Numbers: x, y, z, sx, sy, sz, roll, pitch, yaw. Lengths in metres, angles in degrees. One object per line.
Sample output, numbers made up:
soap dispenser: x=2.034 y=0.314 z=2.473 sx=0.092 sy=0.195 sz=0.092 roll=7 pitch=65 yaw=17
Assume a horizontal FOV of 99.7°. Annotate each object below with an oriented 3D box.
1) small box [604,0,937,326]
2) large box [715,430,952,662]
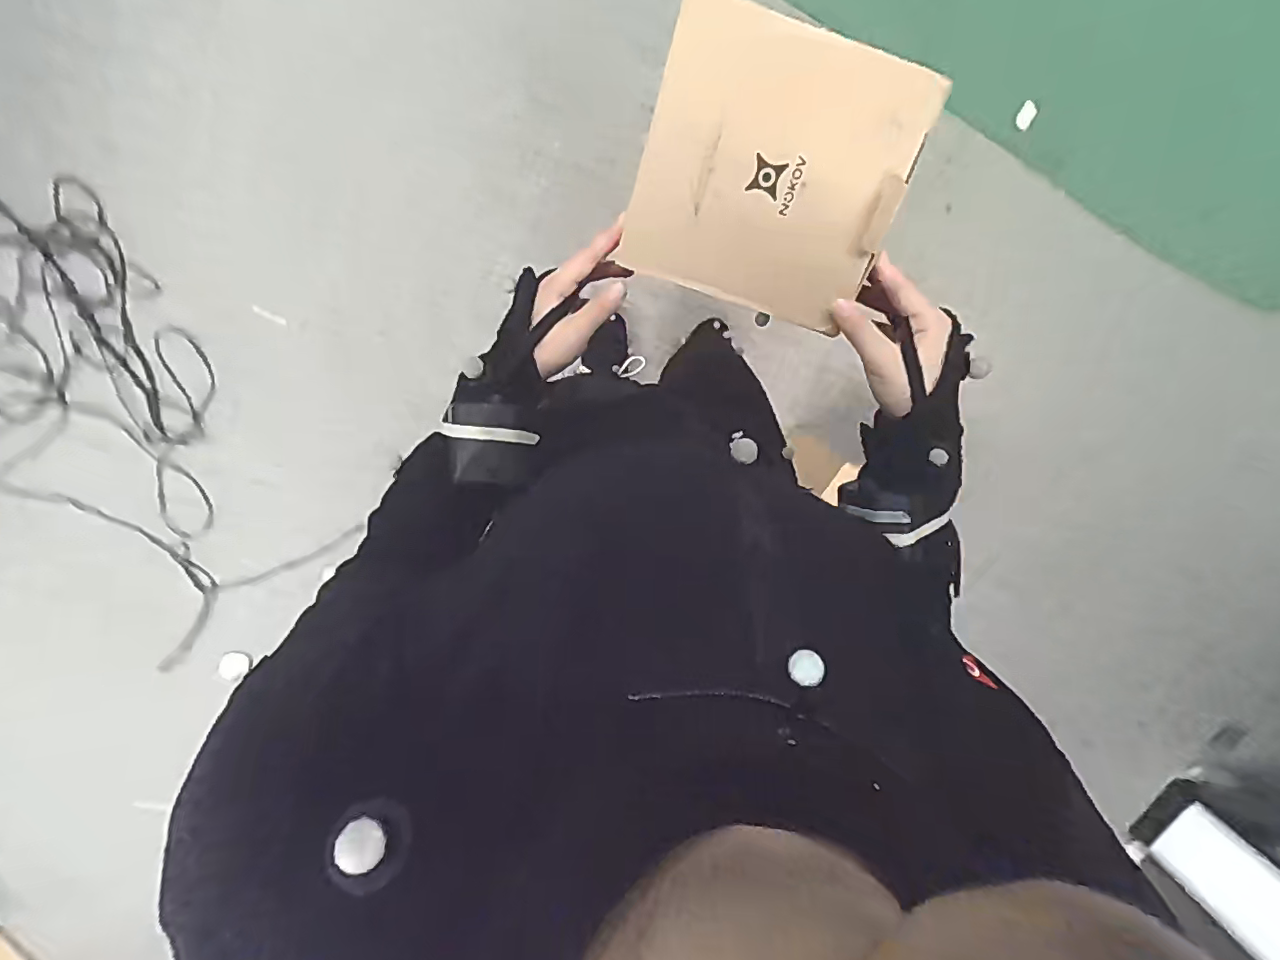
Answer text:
small box: x=0.083 y=-0.237 z=0.429 sx=0.179 sy=0.176 sz=0.168 roll=15 pitch=113 yaw=-3
large box: x=0.439 y=0.147 z=1.321 sx=0.320 sy=0.320 sz=0.408 roll=29 pitch=106 yaw=-13
